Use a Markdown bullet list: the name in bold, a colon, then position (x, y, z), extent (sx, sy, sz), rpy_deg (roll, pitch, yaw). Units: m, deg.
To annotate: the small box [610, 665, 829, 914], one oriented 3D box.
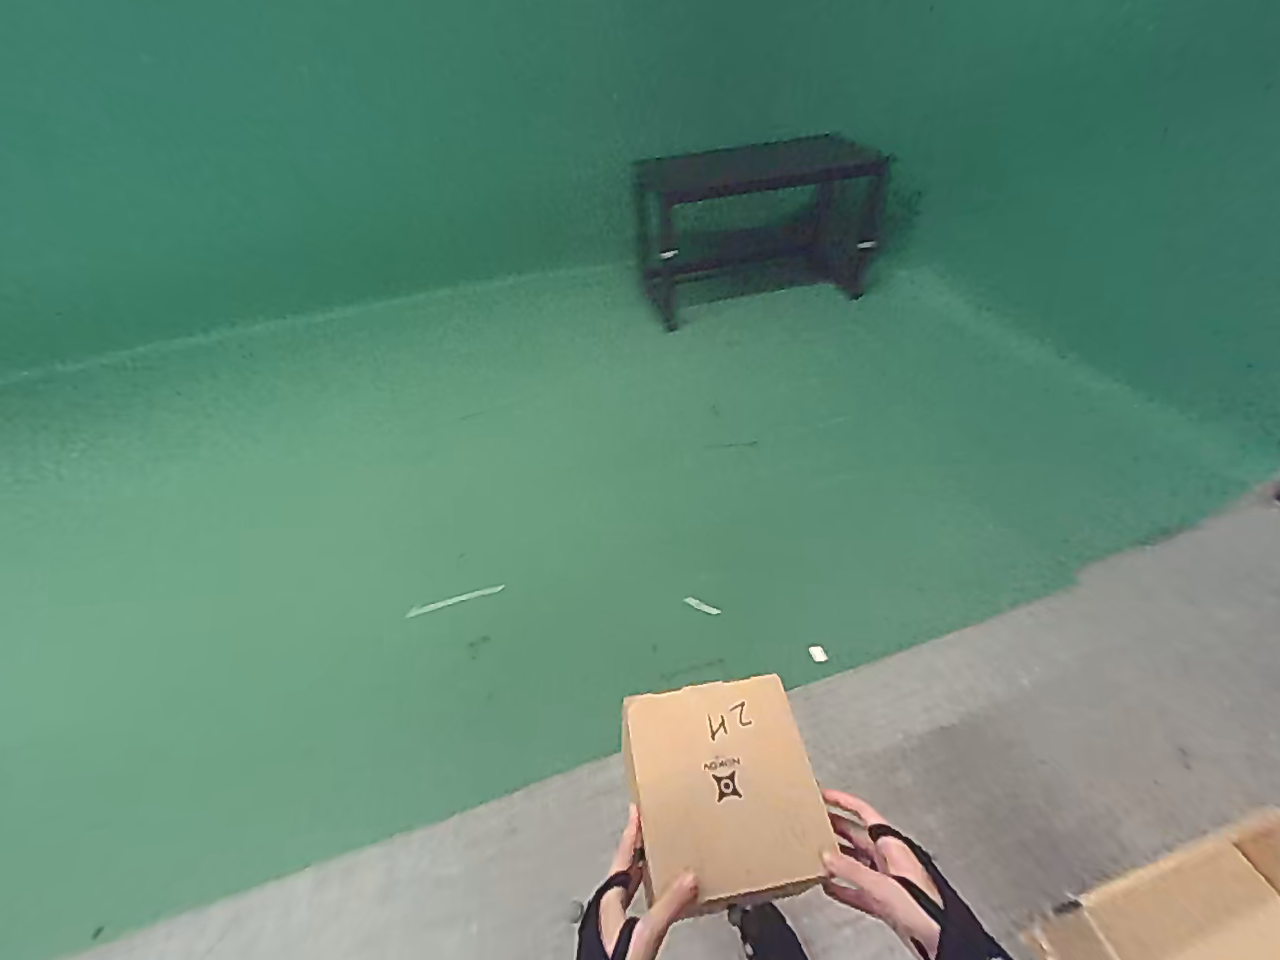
- **small box**: position (0.064, 0.319, 0.553), extent (0.168, 0.176, 0.179), rpy_deg (-7, 47, -8)
